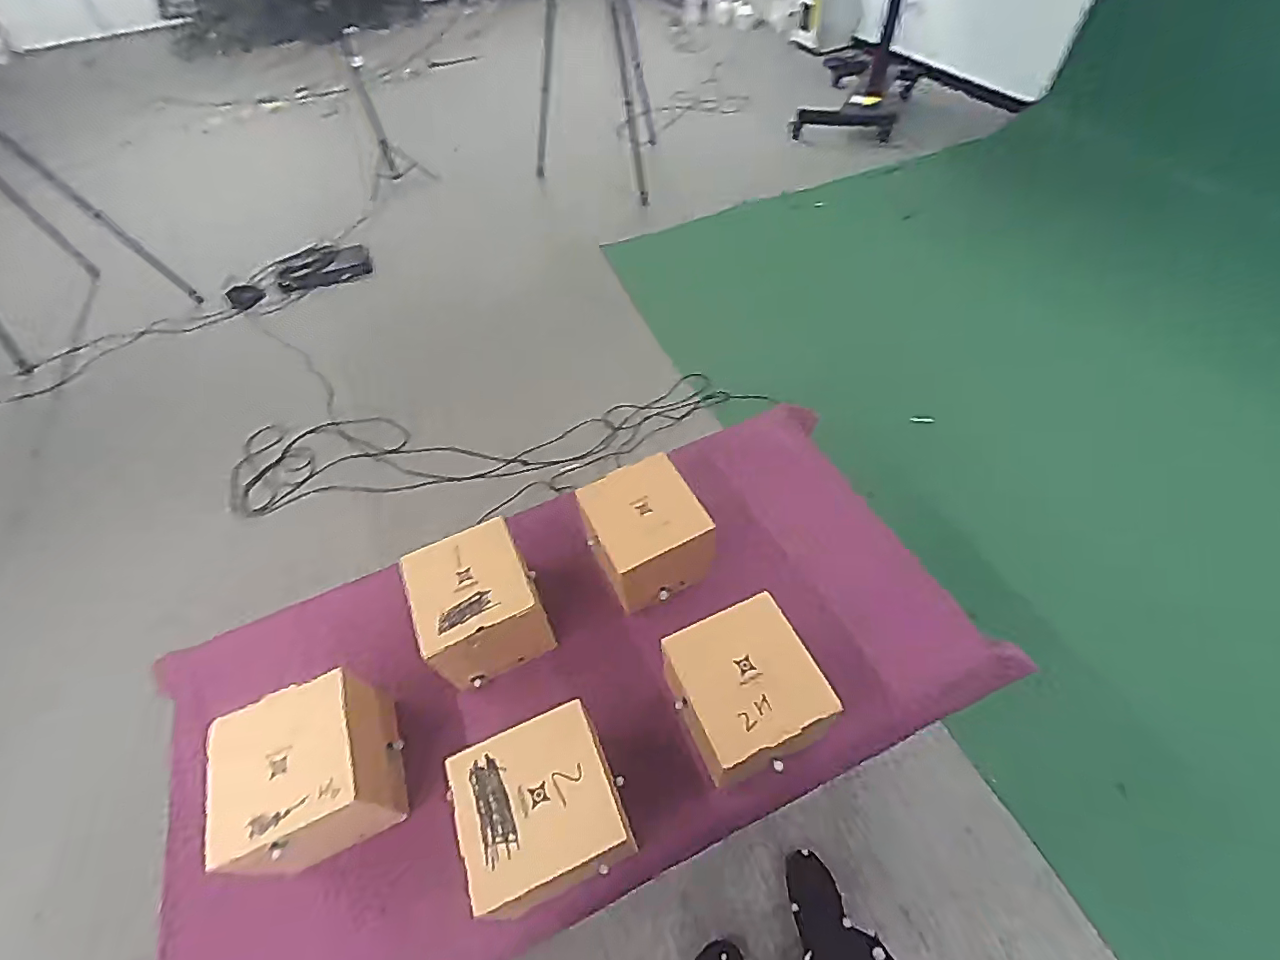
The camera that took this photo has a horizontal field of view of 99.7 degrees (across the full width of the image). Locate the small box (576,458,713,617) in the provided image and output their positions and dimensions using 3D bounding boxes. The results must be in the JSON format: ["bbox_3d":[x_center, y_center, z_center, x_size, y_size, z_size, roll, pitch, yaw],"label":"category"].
[{"bbox_3d":[0.008,0.099,0.916,0.168,0.176,0.179,-24,56,-12],"label":"small box"}]

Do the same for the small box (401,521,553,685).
[{"bbox_3d":[-0.251,0.203,0.856,0.168,0.176,0.179,-23,54,-13],"label":"small box"}]

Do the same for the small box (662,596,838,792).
[{"bbox_3d":[0.139,0.298,0.750,0.168,0.176,0.179,-21,53,-11],"label":"small box"}]

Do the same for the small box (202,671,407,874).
[{"bbox_3d":[-0.435,0.393,0.723,0.168,0.176,0.179,-22,54,-11],"label":"small box"}]
